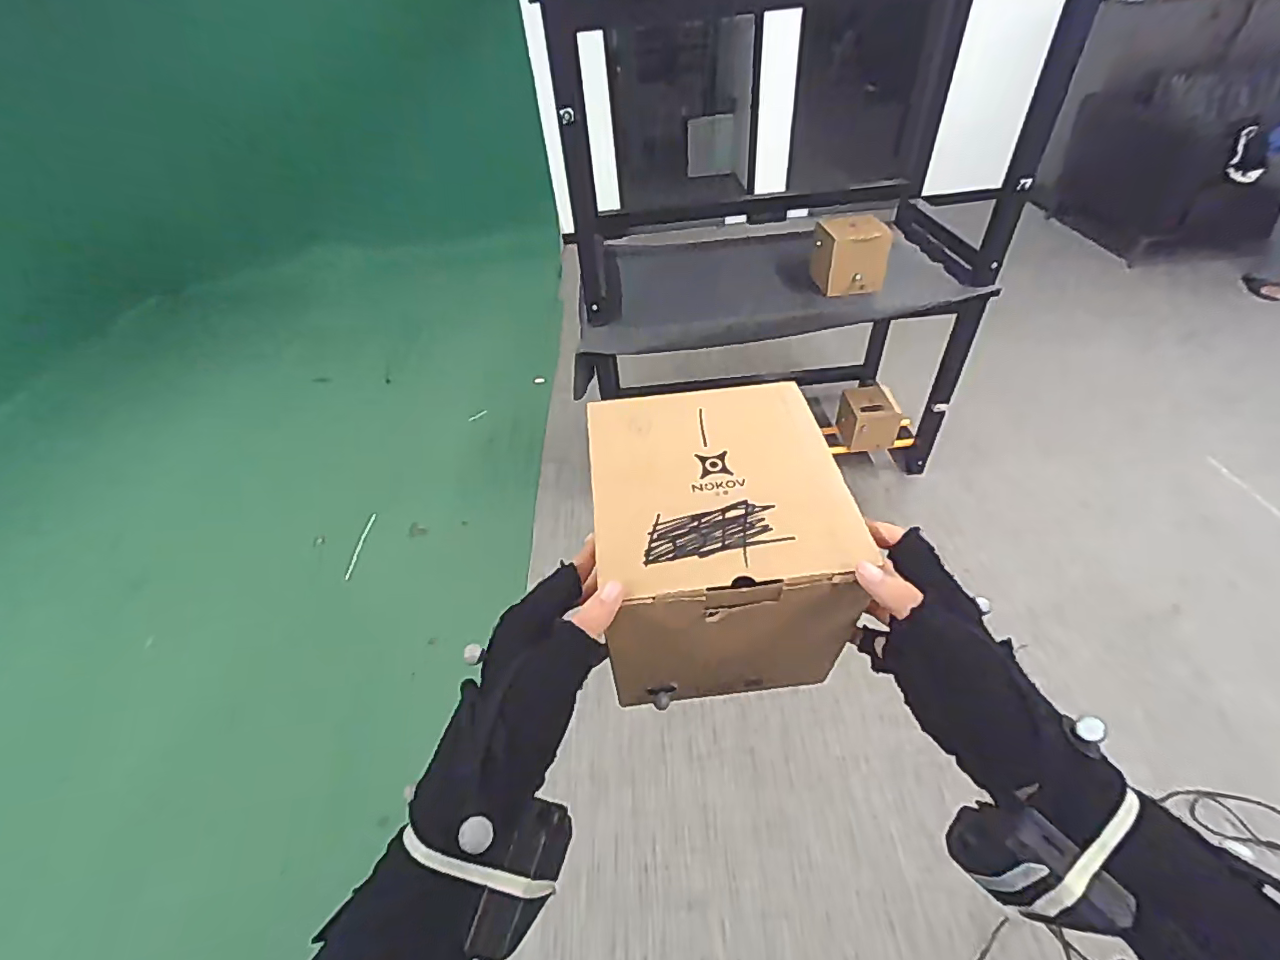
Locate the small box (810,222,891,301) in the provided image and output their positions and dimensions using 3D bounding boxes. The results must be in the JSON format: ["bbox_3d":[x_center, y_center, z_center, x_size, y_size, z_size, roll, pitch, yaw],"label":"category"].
[{"bbox_3d":[0.623,-0.658,1.627,0.168,0.176,0.179,-6,42,1],"label":"small box"}]

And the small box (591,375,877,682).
[{"bbox_3d":[0.055,0.043,0.424,0.168,0.176,0.179,-6,47,-2],"label":"small box"}]
